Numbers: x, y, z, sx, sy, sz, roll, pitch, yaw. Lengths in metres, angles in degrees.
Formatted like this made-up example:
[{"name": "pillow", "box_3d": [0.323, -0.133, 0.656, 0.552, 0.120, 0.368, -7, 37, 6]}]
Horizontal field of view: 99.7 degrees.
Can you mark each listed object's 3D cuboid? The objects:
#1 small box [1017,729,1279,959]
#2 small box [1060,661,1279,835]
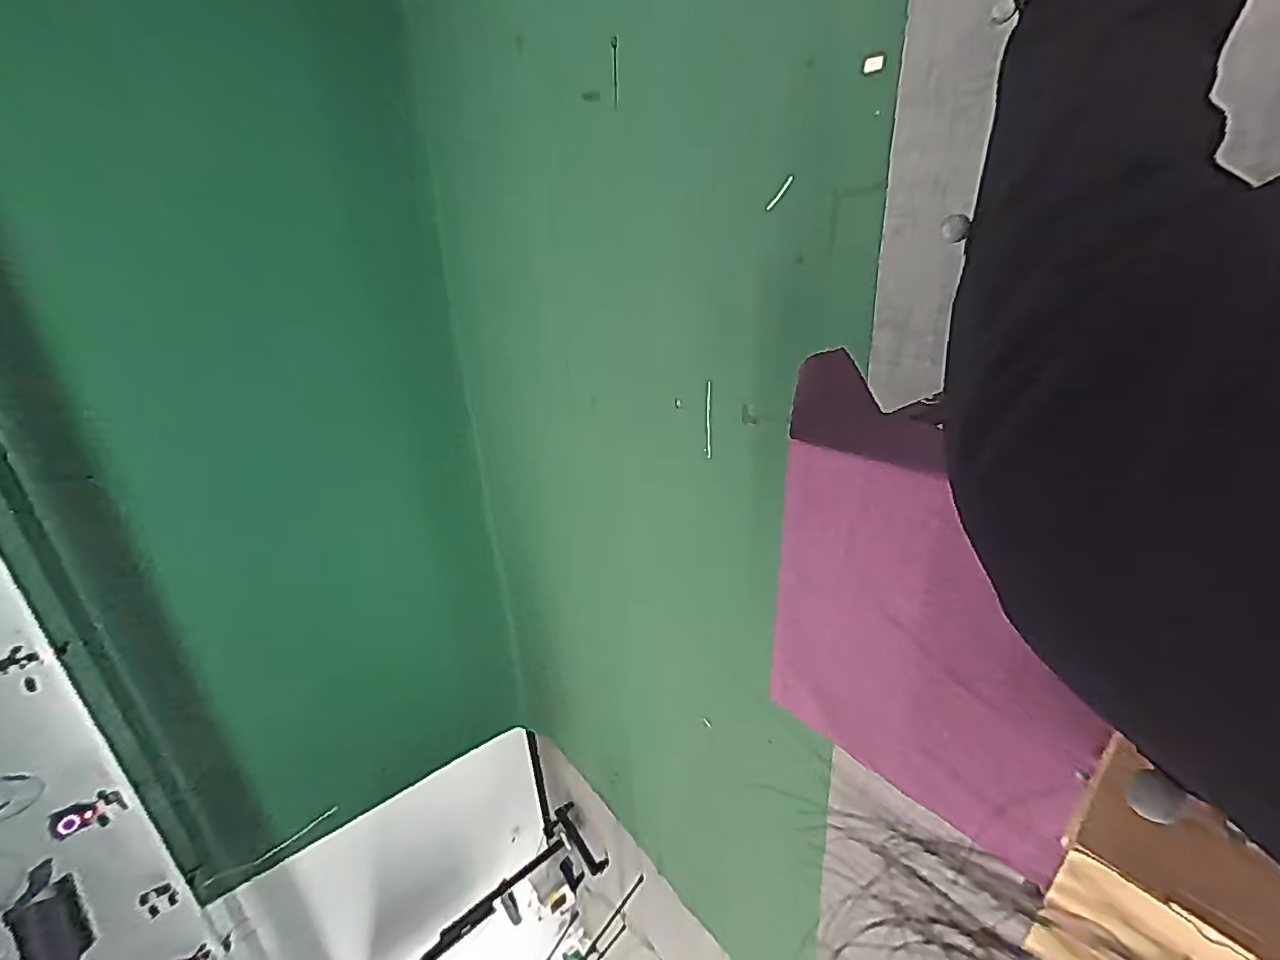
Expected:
[{"name": "small box", "box_3d": [0.469, 0.364, 0.467, 0.168, 0.176, 0.179, 25, 125, 44]}, {"name": "small box", "box_3d": [0.593, 0.332, 0.571, 0.168, 0.176, 0.179, 28, 126, 44]}]
